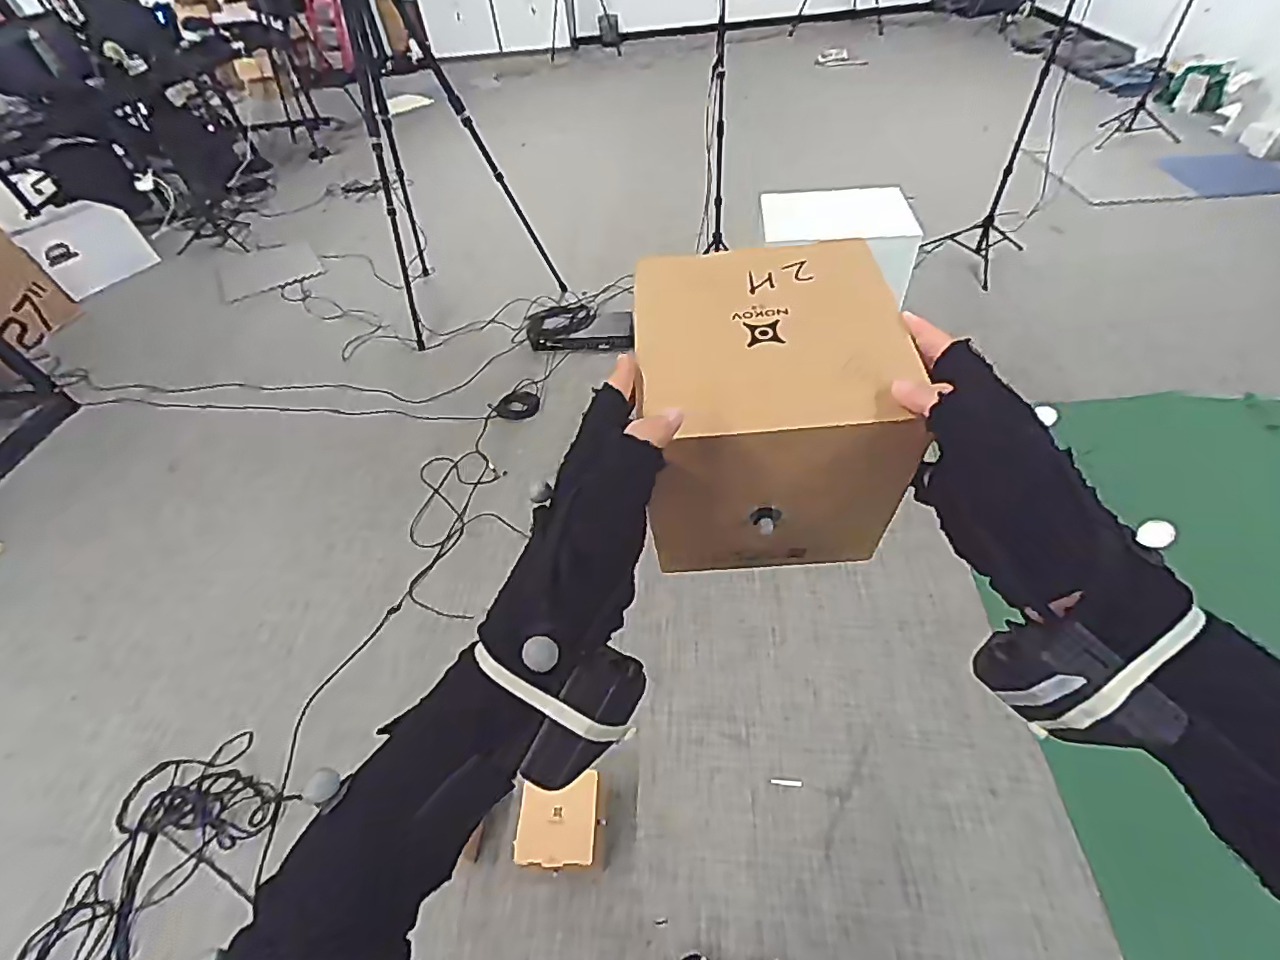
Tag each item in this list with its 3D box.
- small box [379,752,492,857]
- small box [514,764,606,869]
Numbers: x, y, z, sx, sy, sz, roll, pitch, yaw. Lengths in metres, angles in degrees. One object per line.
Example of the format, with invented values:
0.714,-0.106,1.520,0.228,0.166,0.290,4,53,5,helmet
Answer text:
-0.459,0.753,1.251,0.168,0.176,0.179,1,49,7,small box
-0.170,0.758,1.217,0.168,0.176,0.179,-2,49,4,small box
